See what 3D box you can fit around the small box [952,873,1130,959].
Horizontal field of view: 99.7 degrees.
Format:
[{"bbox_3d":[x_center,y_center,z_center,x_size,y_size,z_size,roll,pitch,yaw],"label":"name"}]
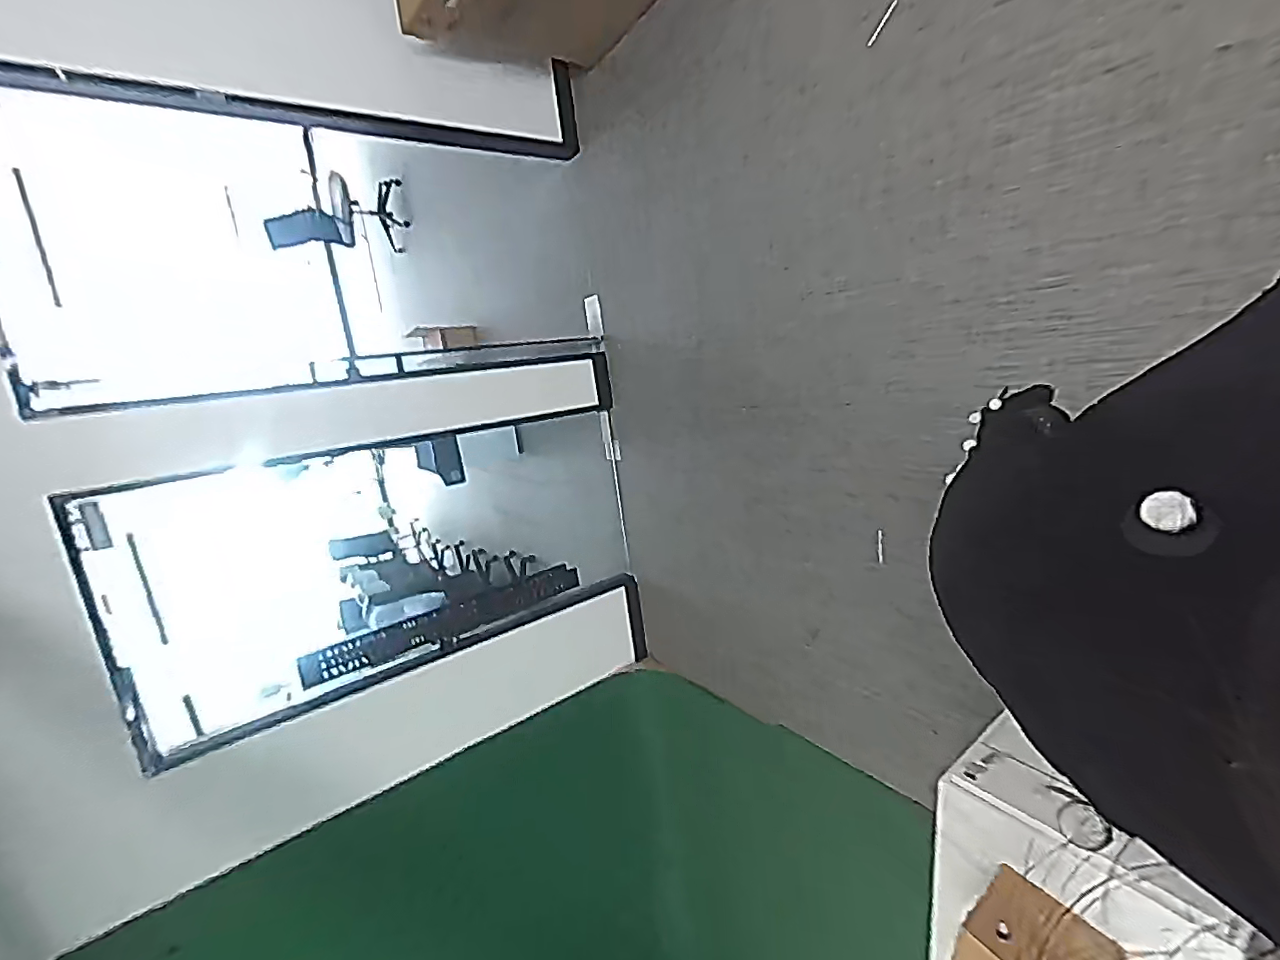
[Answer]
[{"bbox_3d":[0.638,0.788,0.875,0.179,0.176,0.168,24,122,49],"label":"small box"}]
